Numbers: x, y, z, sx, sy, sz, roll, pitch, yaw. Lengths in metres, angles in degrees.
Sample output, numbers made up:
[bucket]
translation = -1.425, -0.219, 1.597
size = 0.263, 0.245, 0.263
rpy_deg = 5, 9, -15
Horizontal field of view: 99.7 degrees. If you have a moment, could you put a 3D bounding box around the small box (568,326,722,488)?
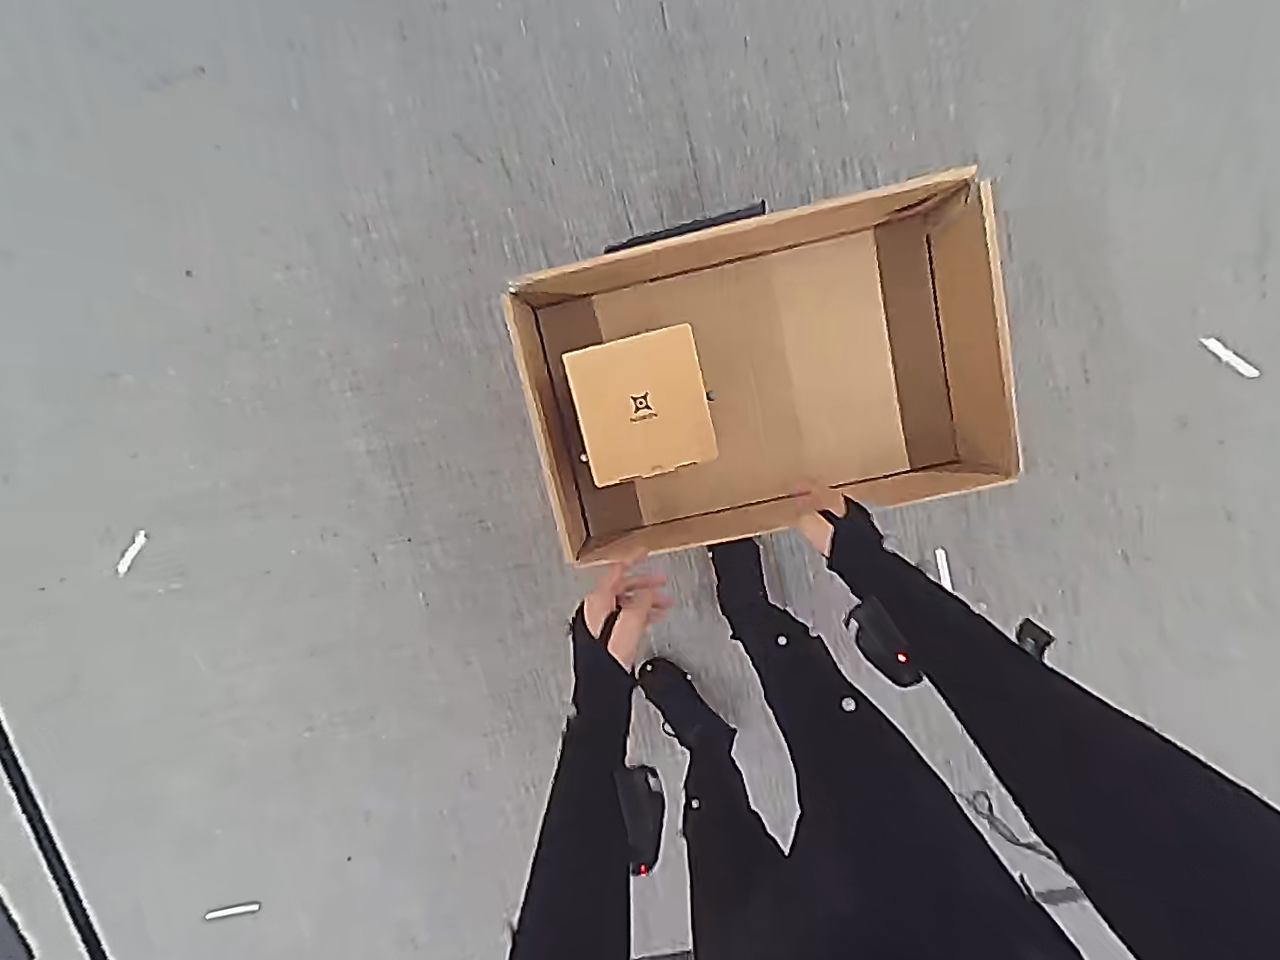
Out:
[small box]
translation = 0.009, -0.100, 0.757
size = 0.168, 0.176, 0.179
rpy_deg = -14, 98, 4
